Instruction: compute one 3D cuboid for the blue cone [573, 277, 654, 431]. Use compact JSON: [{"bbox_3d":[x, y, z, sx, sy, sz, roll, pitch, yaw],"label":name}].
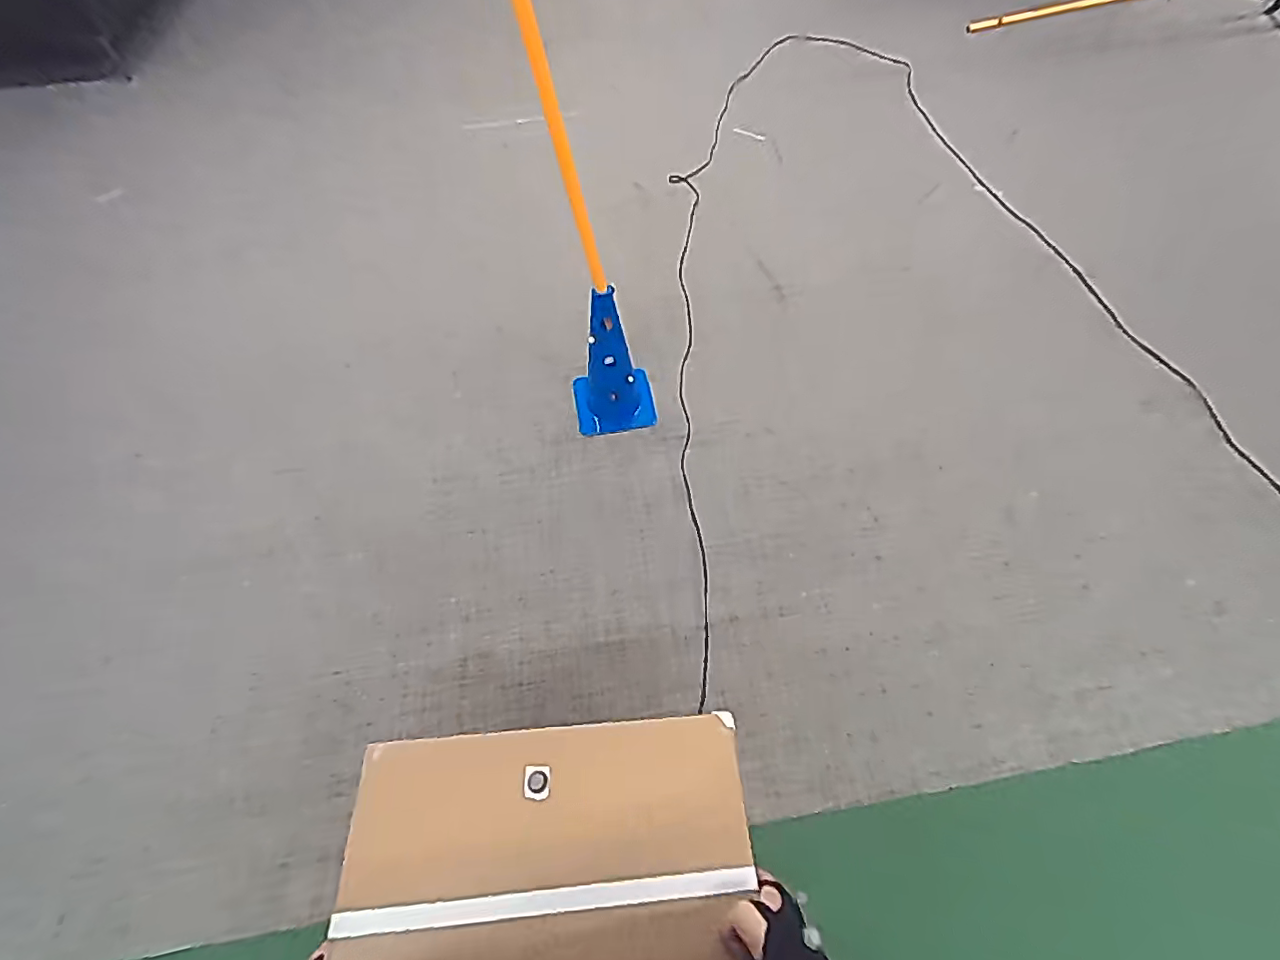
[{"bbox_3d":[-0.076,-0.296,1.254,0.193,0.380,0.192,-12,58,-4],"label":"blue cone"}]
